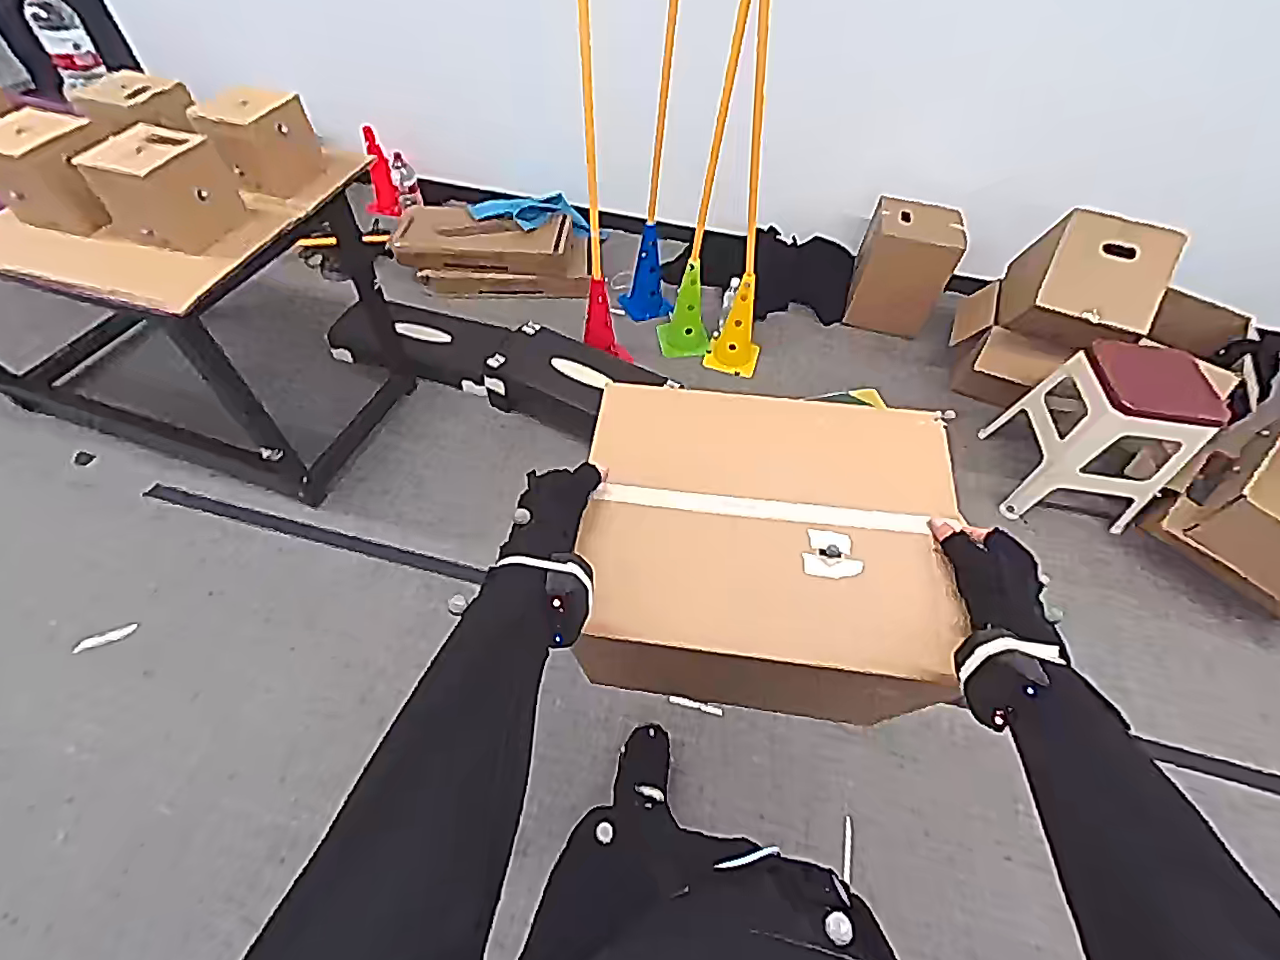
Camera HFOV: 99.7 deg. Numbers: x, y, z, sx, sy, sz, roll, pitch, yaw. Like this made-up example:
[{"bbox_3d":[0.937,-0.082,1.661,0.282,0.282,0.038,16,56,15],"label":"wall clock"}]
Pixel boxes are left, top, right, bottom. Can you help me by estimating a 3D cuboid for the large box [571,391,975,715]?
[{"bbox_3d":[0.147,0.109,0.731,0.408,0.320,0.320,7,61,6],"label":"large box"}]
